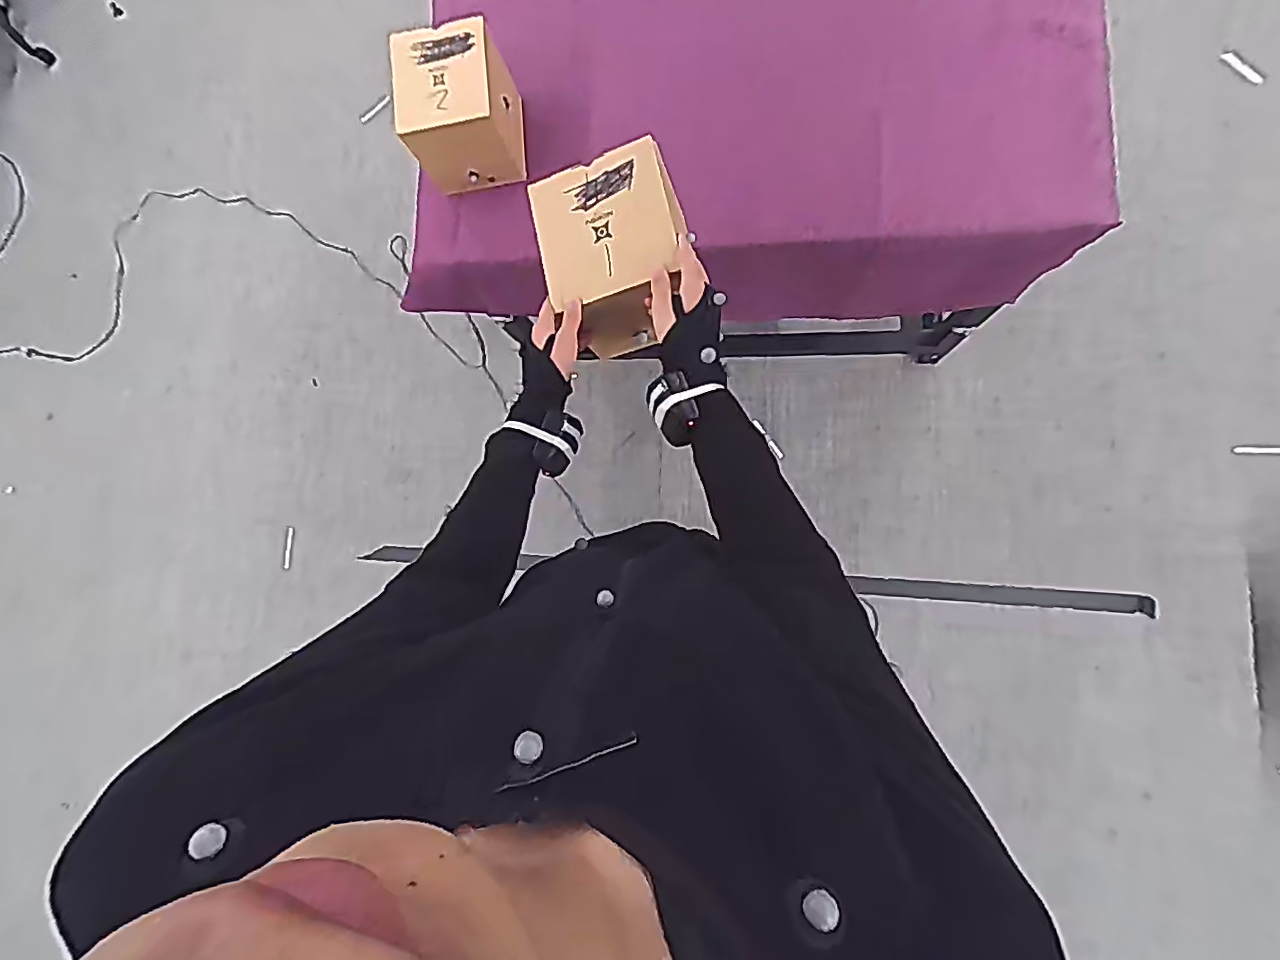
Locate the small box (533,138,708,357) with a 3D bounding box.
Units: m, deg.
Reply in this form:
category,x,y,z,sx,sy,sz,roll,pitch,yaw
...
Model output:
category,x,y,z,sx,sy,sz,roll,pitch,yaw
small box,-0.018,-0.286,0.705,0.168,0.176,0.179,-14,80,16
